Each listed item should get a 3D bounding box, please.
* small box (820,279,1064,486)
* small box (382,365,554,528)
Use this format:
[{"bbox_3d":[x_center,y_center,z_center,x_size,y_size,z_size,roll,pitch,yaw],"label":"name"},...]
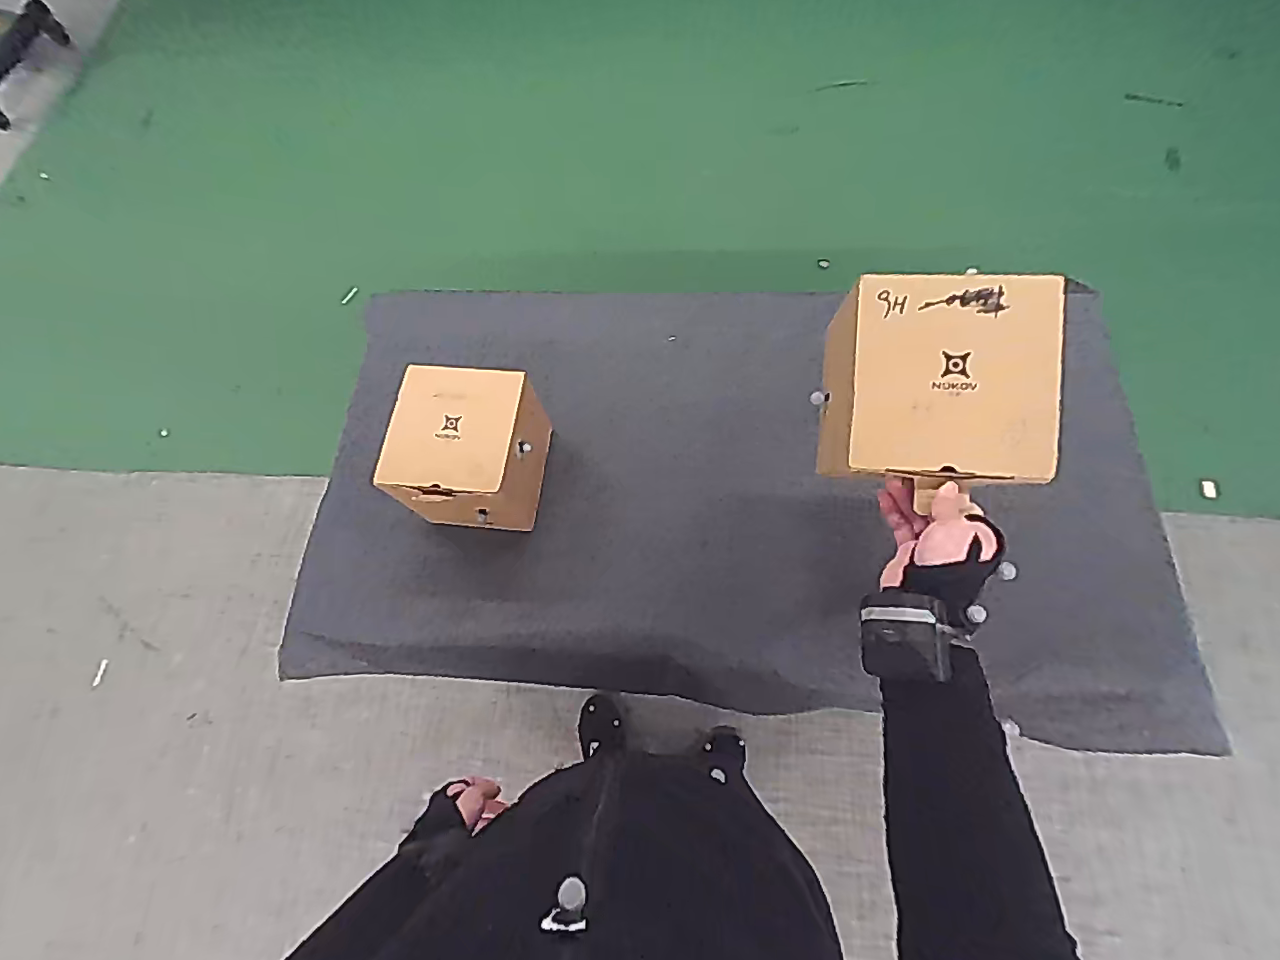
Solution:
[{"bbox_3d":[0.284,-0.086,0.548,0.168,0.176,0.179,4,89,9],"label":"small box"},{"bbox_3d":[-0.229,-0.041,0.774,0.168,0.176,0.179,6,68,5],"label":"small box"}]
